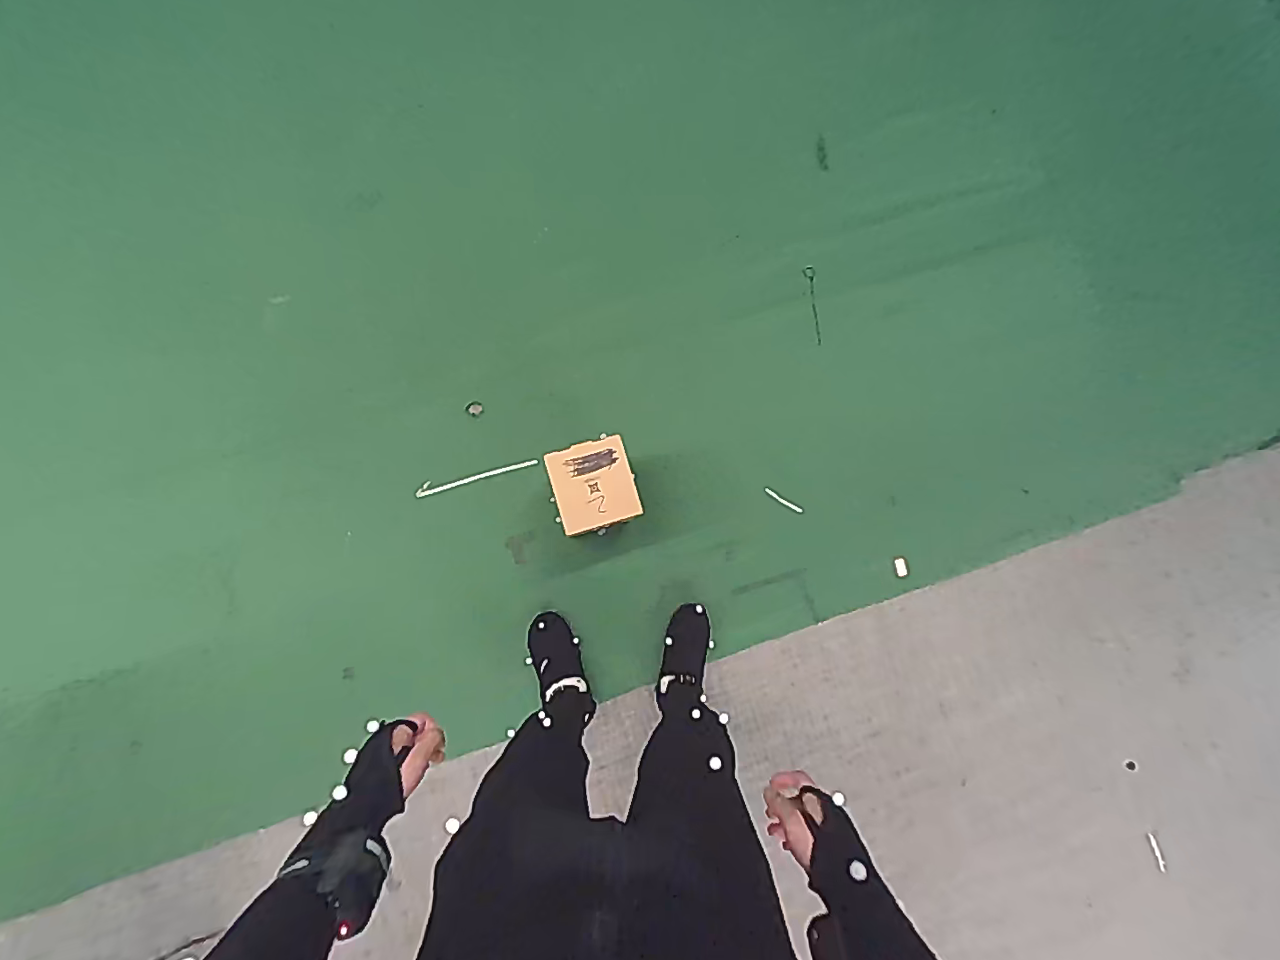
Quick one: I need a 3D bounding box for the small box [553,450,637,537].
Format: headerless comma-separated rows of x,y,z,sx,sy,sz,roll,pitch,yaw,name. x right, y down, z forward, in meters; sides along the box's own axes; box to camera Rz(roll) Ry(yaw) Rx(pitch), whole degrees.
-0.115,0.039,1.346,0.168,0.176,0.179,-16,86,-7,small box
